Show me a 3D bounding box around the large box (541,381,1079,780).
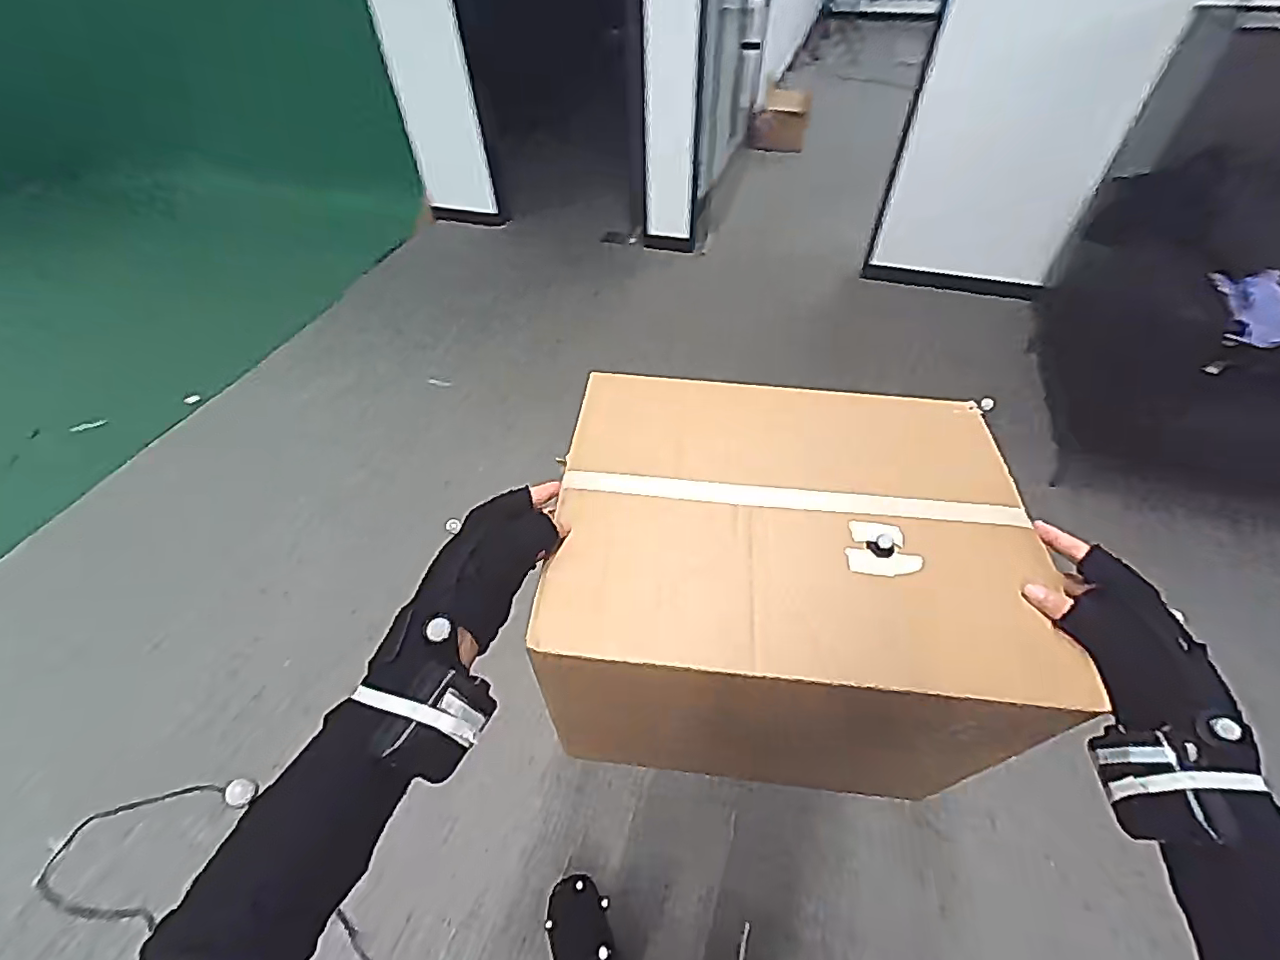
[{"bbox_3d":[0.126,0.117,0.602,0.408,0.320,0.320,5,51,2],"label":"large box"}]
